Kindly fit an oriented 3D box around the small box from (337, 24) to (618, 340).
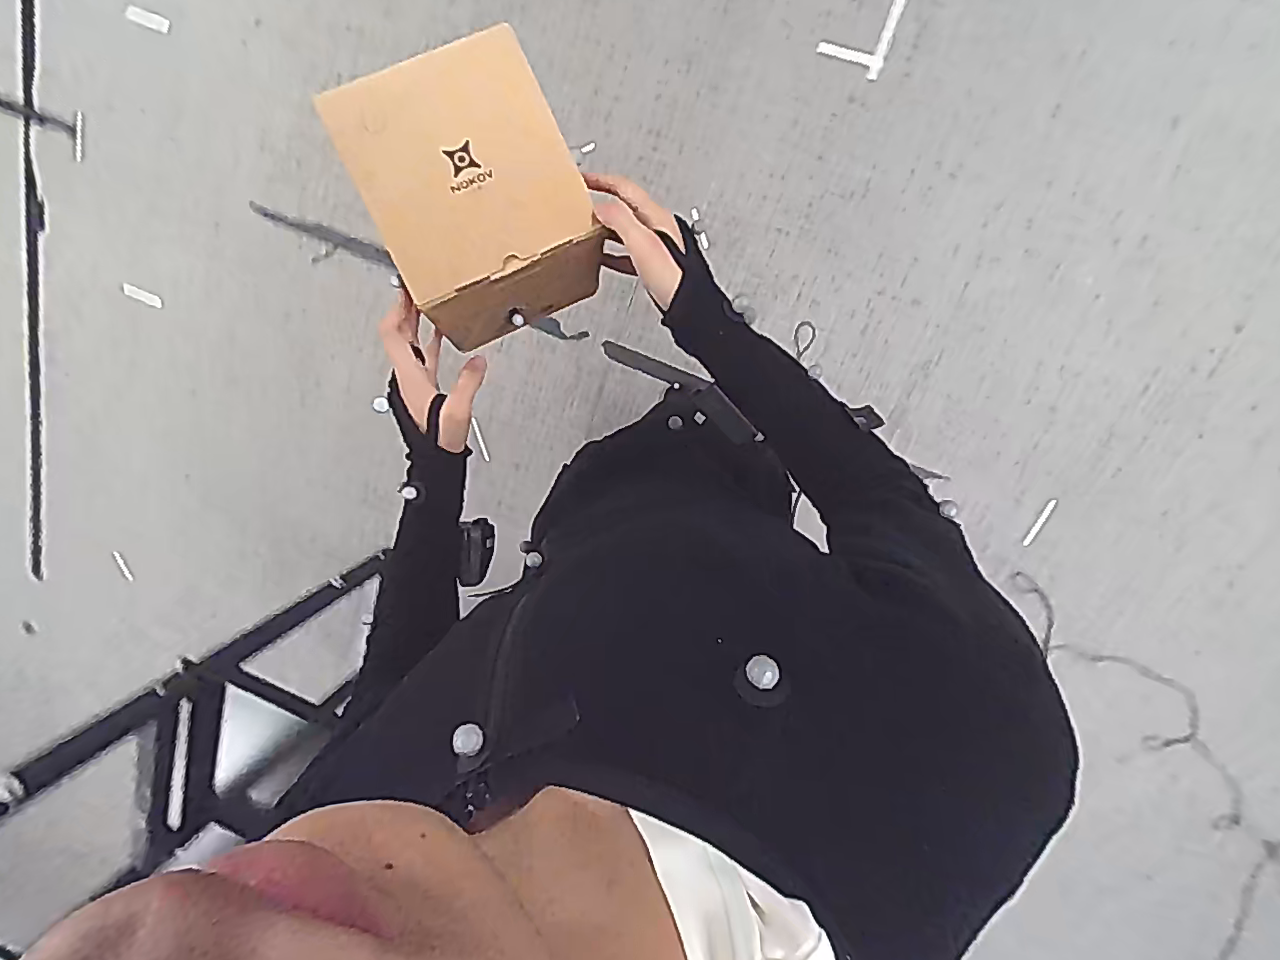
[{"bbox_3d":[-0.137,-0.255,0.507,0.168,0.176,0.179,-26,96,-6],"label":"small box"}]
